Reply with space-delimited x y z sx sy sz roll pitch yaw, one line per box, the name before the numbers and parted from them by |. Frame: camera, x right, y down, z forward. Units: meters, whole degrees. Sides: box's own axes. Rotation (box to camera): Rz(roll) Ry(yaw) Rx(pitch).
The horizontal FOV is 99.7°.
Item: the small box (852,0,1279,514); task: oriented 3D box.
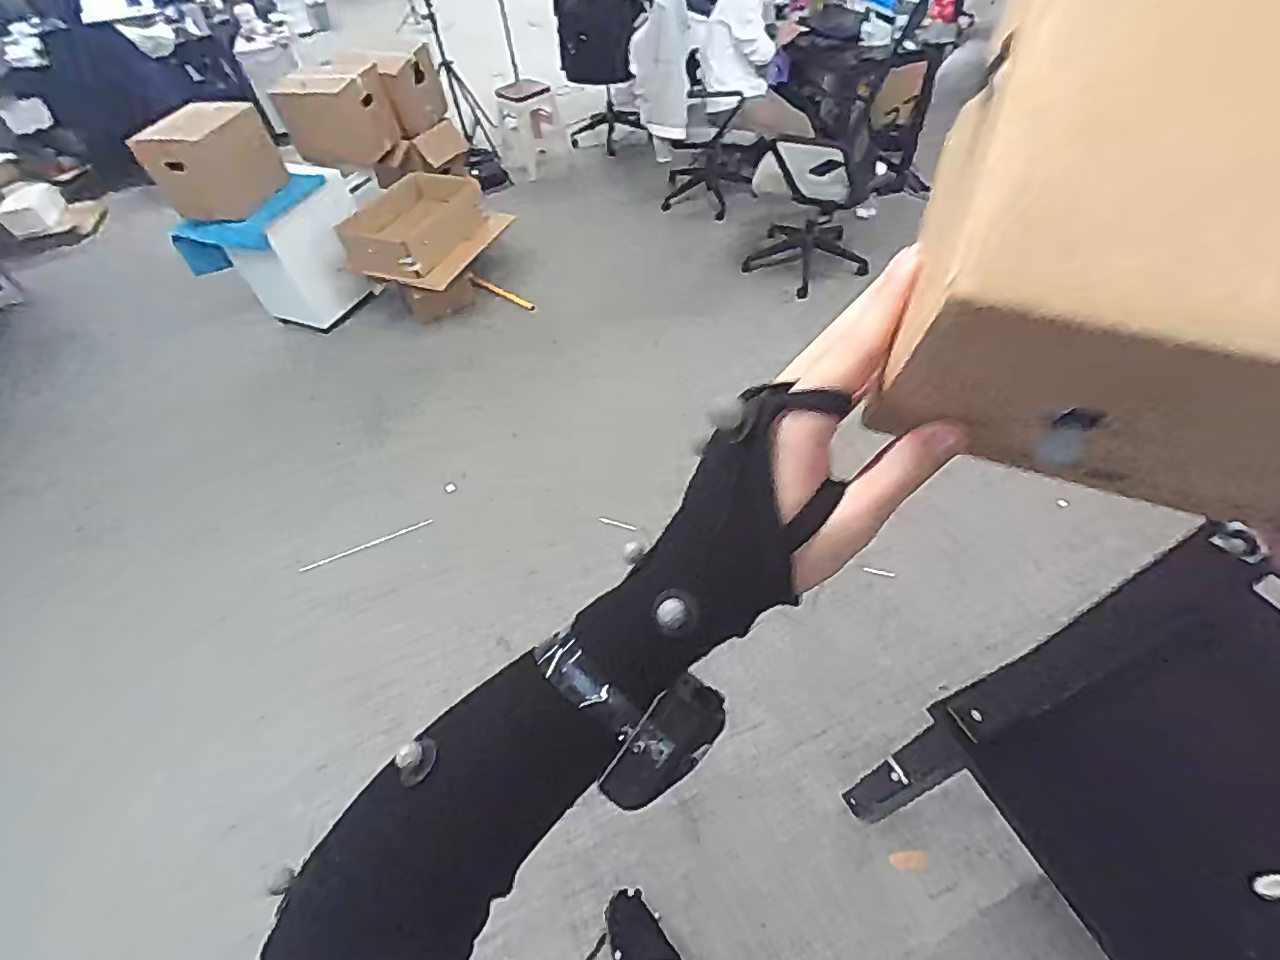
small box | 0.190 -0.093 0.206 0.168 0.176 0.179 17 86 16
